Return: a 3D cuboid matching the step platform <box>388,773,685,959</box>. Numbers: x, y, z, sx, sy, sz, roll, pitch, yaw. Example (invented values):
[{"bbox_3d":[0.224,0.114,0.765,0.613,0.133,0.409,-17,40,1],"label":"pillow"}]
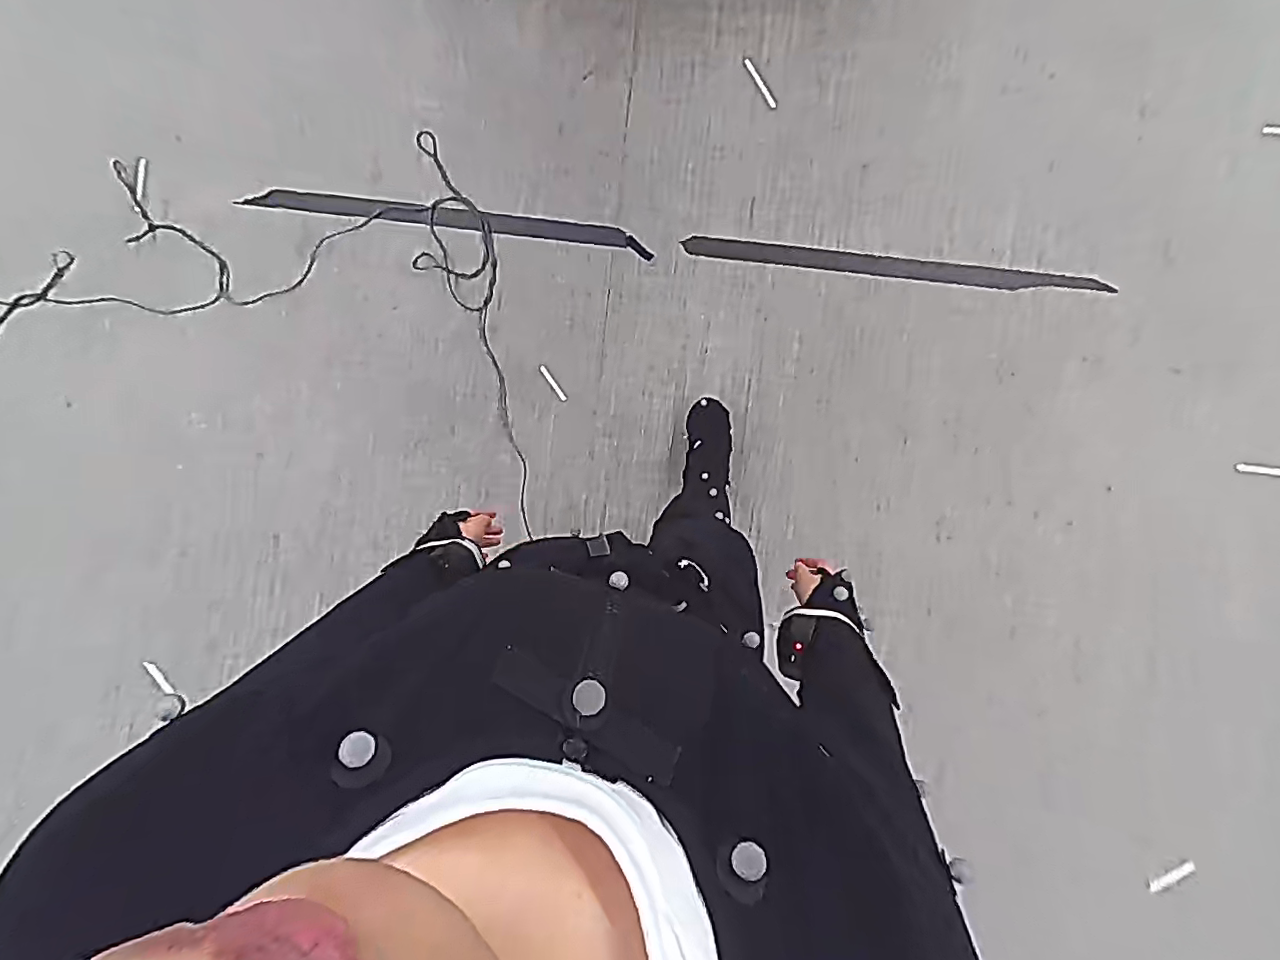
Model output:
[{"bbox_3d":[-0.235,0.929,1.291,0.684,0.204,0.286,6,91,2],"label":"step platform"}]
